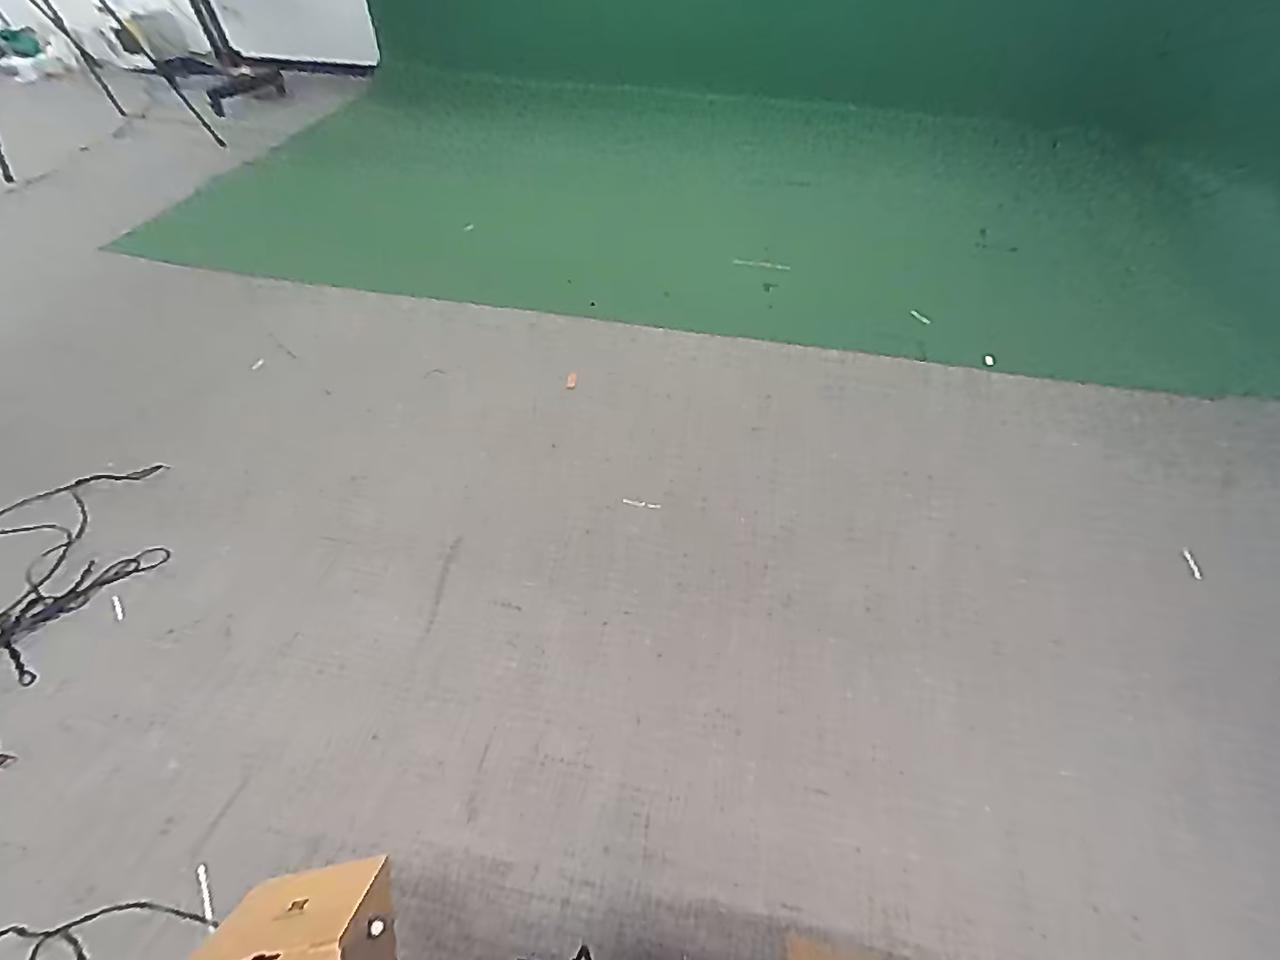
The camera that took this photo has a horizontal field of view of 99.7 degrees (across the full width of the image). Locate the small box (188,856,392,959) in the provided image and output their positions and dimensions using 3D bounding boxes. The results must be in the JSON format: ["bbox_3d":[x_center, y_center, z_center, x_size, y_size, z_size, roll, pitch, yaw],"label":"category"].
[{"bbox_3d":[-0.408,0.601,0.647,0.168,0.179,0.176,-7,84,-9],"label":"small box"}]
